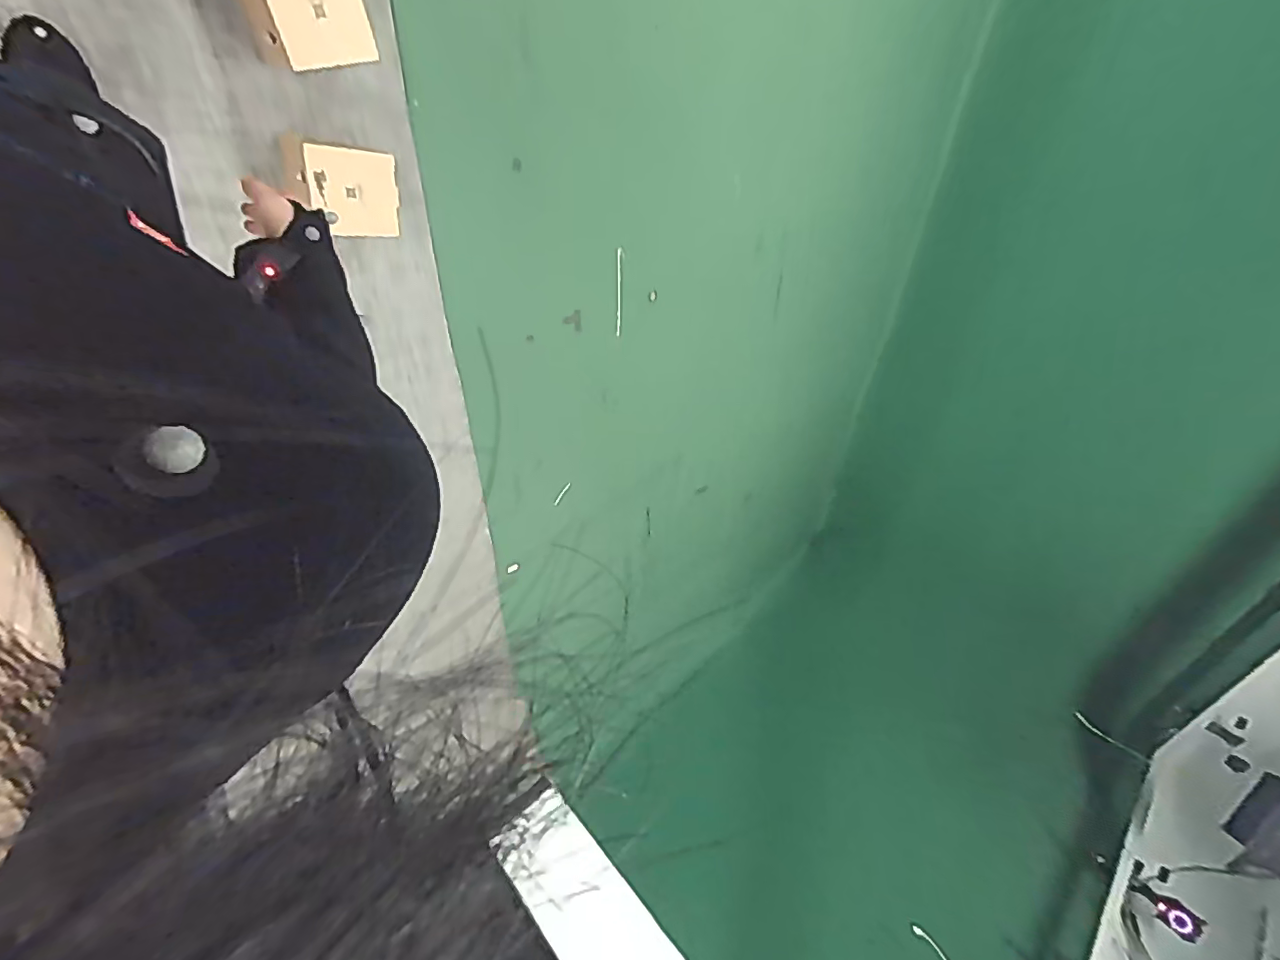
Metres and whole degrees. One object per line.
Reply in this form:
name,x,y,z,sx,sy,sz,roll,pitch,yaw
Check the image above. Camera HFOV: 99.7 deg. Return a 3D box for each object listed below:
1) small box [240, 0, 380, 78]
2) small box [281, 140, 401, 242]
small box,-0.623,-0.869,1.005,0.168,0.176,0.179,-34,139,-28
small box,-0.645,-0.626,1.173,0.179,0.176,0.168,-19,132,-40
